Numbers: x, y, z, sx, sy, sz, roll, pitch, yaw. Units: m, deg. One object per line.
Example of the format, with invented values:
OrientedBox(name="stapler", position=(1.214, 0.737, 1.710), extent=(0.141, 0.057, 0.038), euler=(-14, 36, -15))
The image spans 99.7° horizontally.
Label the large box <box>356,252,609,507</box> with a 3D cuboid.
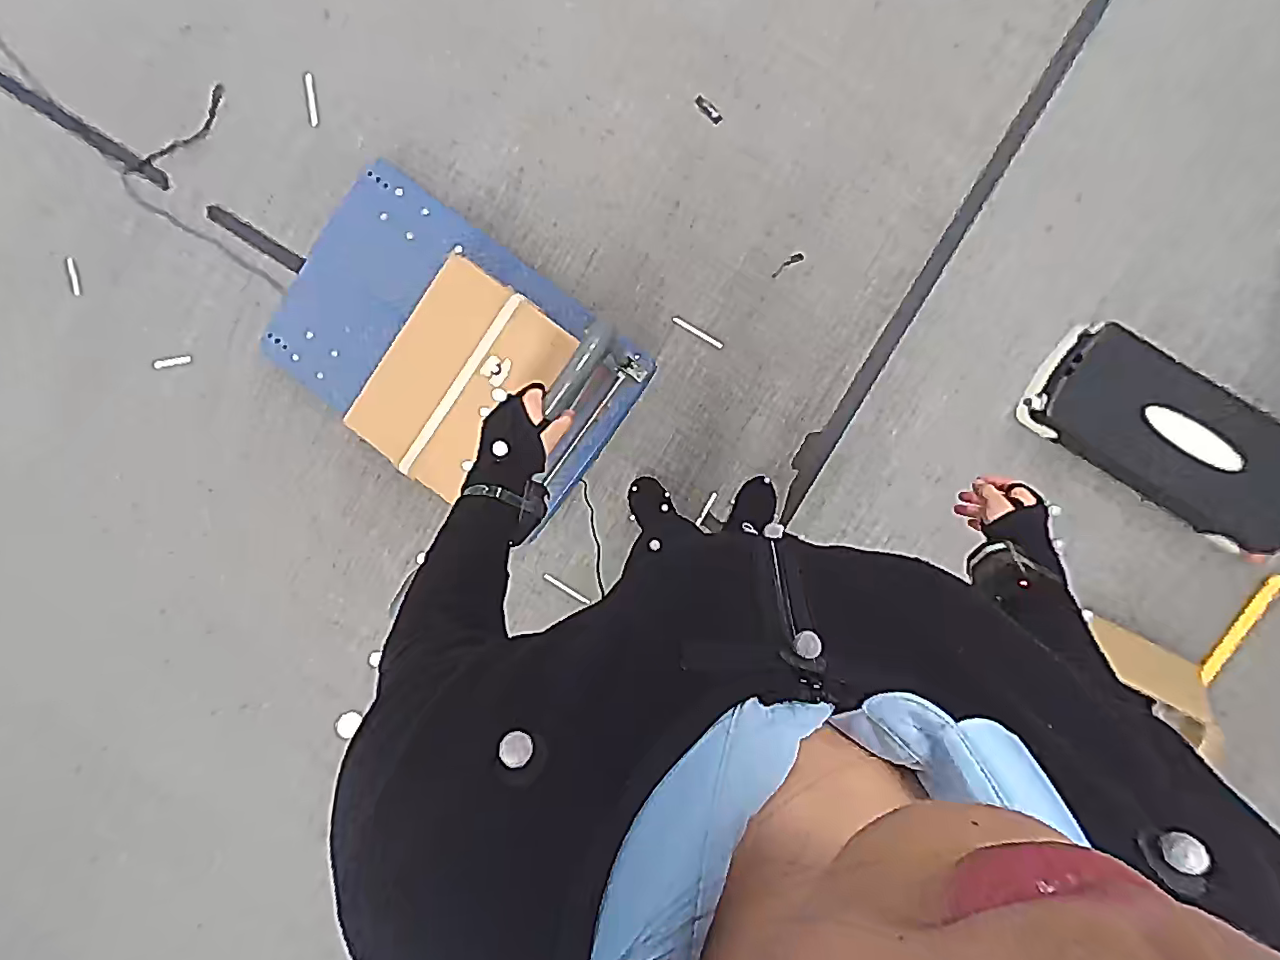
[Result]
OrientedBox(name="large box", position=(-0.322, -0.198, 1.198), extent=(0.320, 0.320, 0.408), euler=(36, 96, 1))
